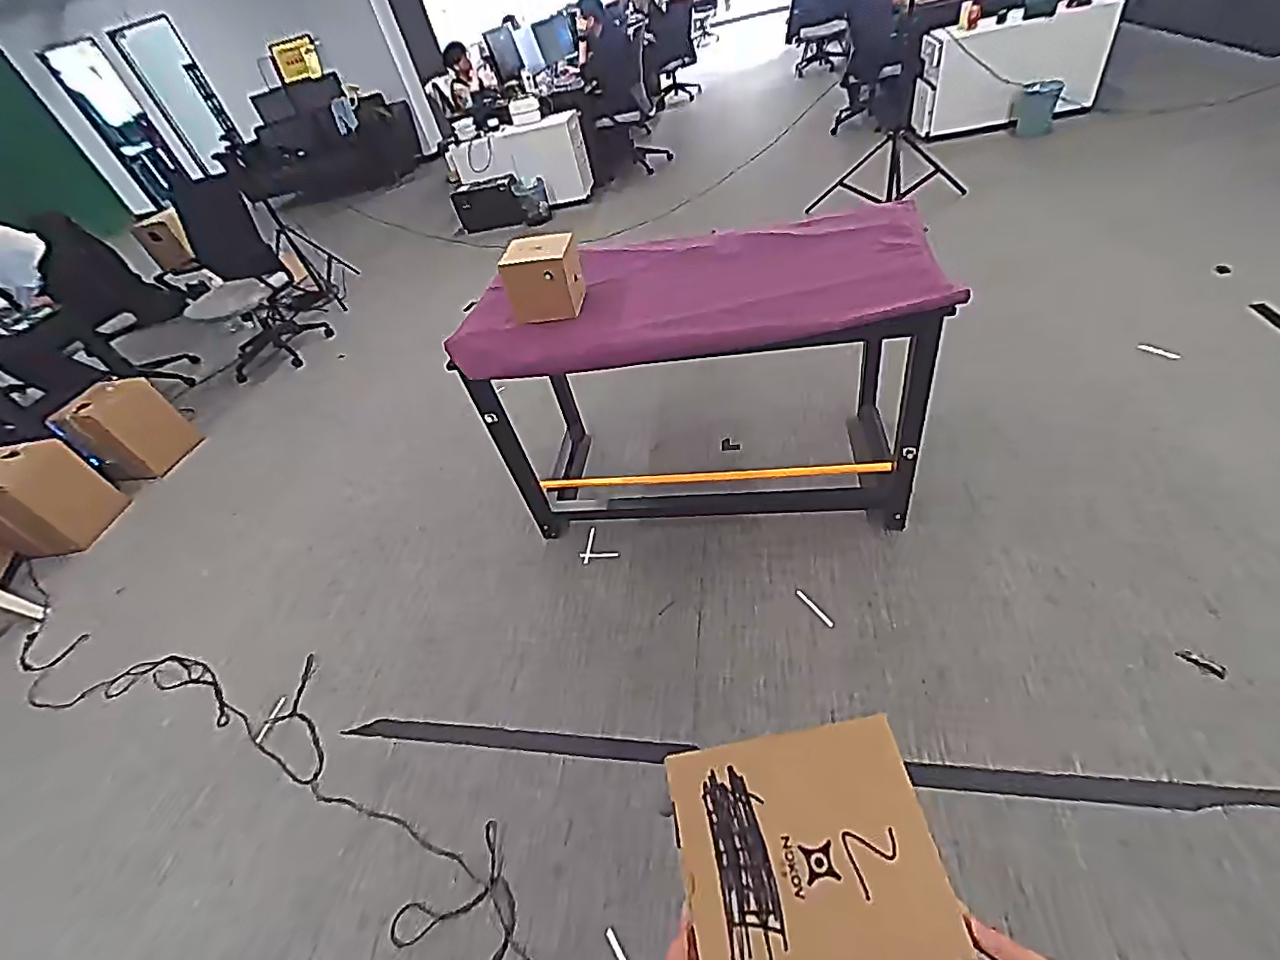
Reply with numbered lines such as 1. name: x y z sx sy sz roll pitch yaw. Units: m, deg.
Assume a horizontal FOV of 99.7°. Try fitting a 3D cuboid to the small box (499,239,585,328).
1. small box: -0.257 -0.534 1.478 0.179 0.176 0.168 -3 44 10
